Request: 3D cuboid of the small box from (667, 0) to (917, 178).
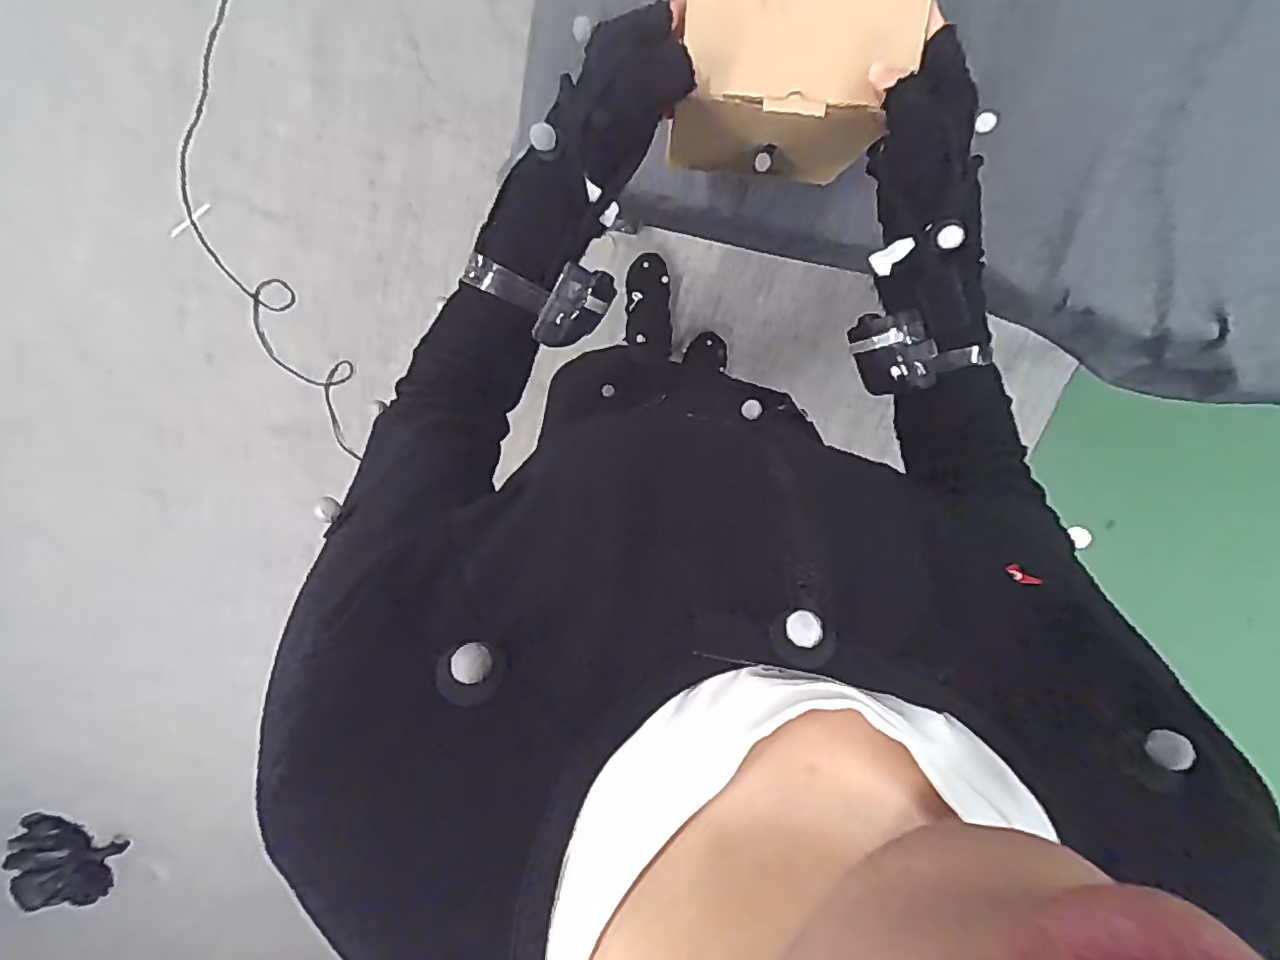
[{"bbox_3d":[0.111,-0.368,0.443,0.168,0.176,0.179,4,104,0],"label":"small box"}]
